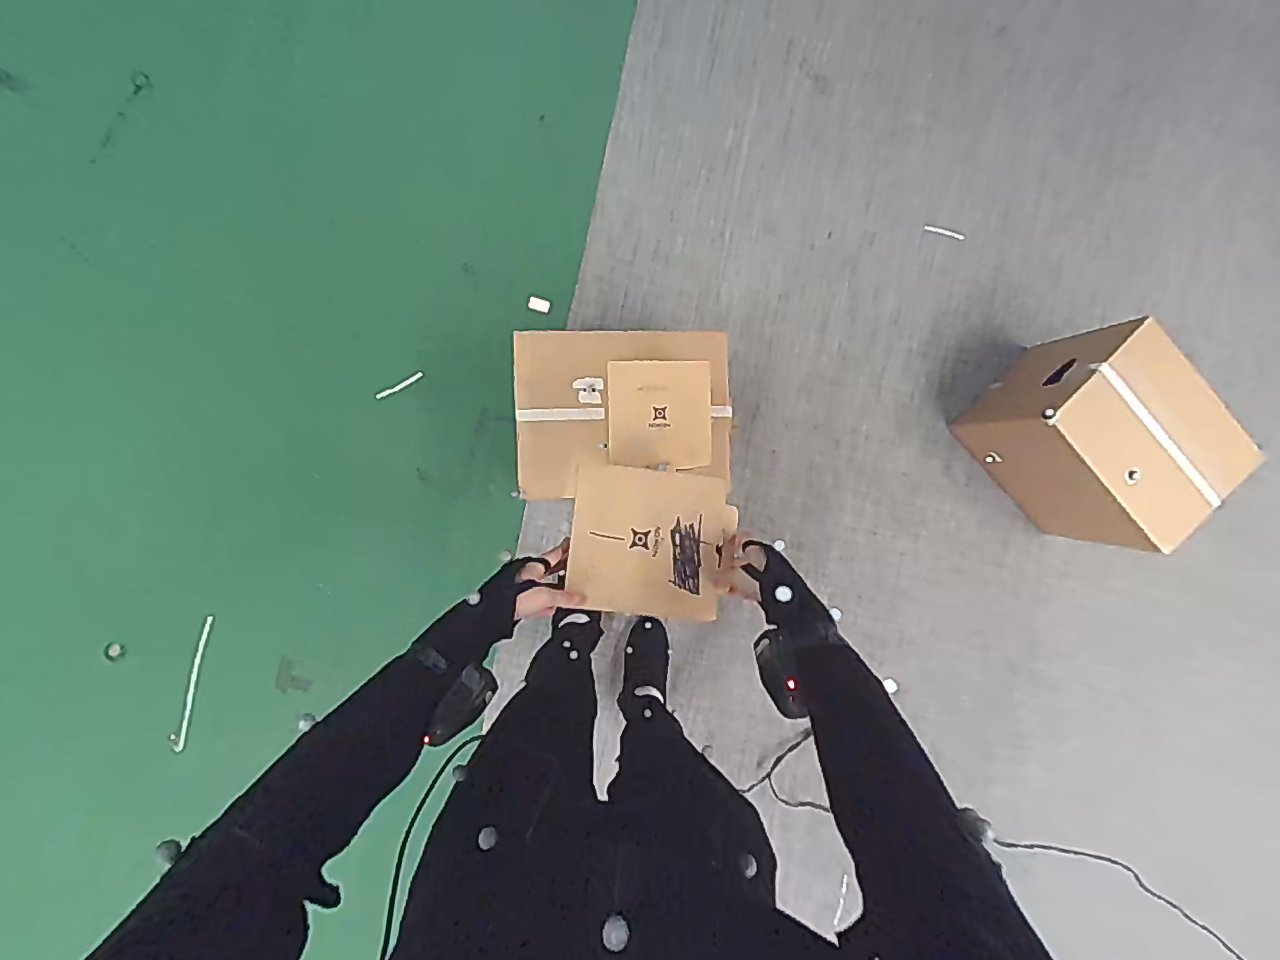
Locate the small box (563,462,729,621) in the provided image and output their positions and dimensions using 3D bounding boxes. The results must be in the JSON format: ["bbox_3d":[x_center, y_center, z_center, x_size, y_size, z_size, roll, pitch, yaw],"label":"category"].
[{"bbox_3d":[0.001,0.077,0.690,0.179,0.176,0.168,7,83,-5],"label":"small box"}]

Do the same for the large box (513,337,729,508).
[{"bbox_3d":[-0.042,-0.113,1.165,0.408,0.320,0.320,-2,90,-4],"label":"large box"}]

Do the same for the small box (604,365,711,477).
[{"bbox_3d":[0.024,-0.096,0.925,0.168,0.176,0.179,-1,92,-6],"label":"small box"}]
